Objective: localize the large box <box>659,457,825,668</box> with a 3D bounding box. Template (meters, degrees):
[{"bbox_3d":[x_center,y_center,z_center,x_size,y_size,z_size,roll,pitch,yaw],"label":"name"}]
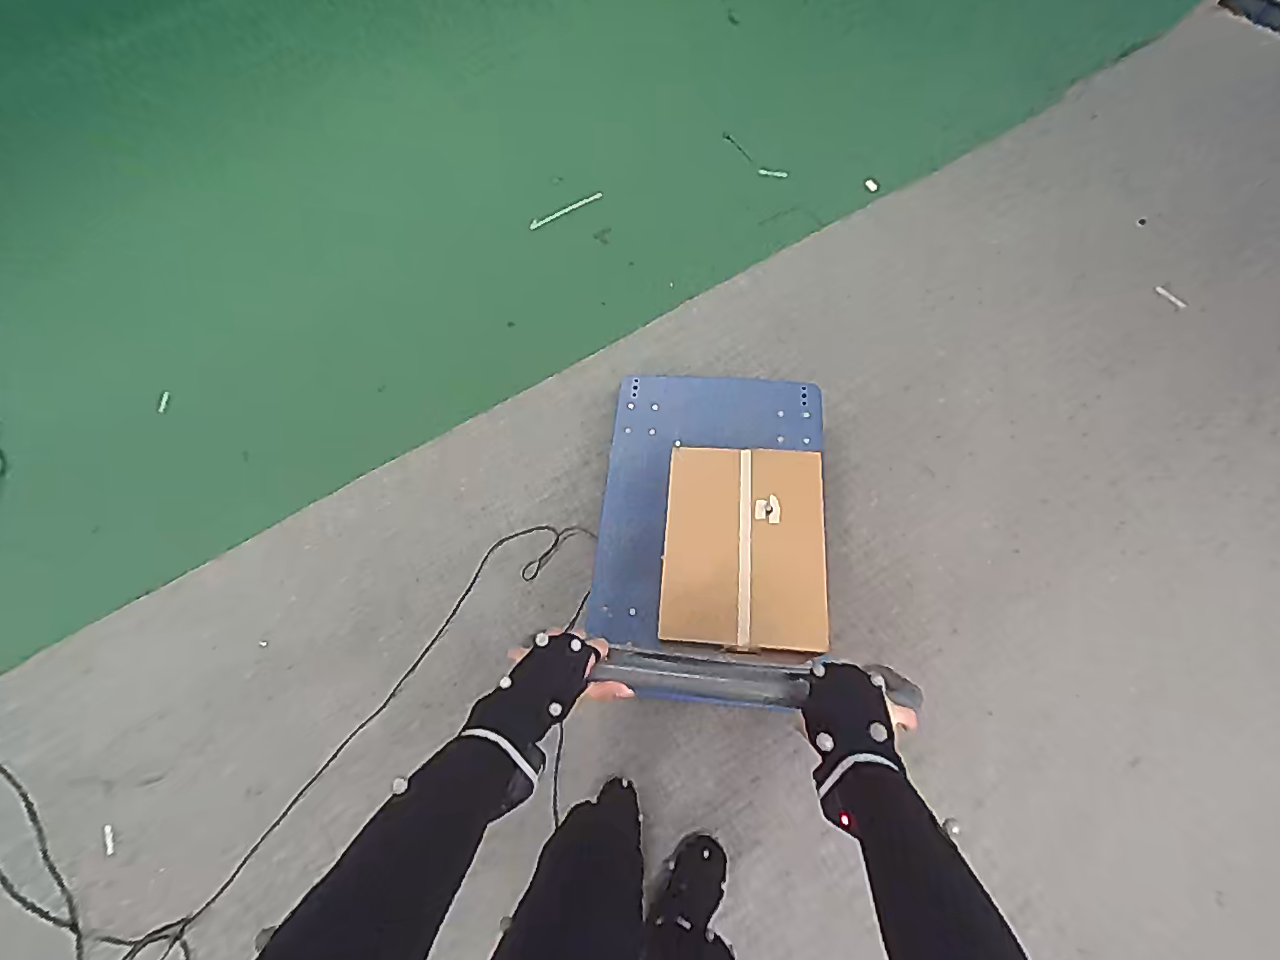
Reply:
[{"bbox_3d":[0.218,0.197,1.224,0.320,0.320,0.408,3,66,6],"label":"large box"}]
